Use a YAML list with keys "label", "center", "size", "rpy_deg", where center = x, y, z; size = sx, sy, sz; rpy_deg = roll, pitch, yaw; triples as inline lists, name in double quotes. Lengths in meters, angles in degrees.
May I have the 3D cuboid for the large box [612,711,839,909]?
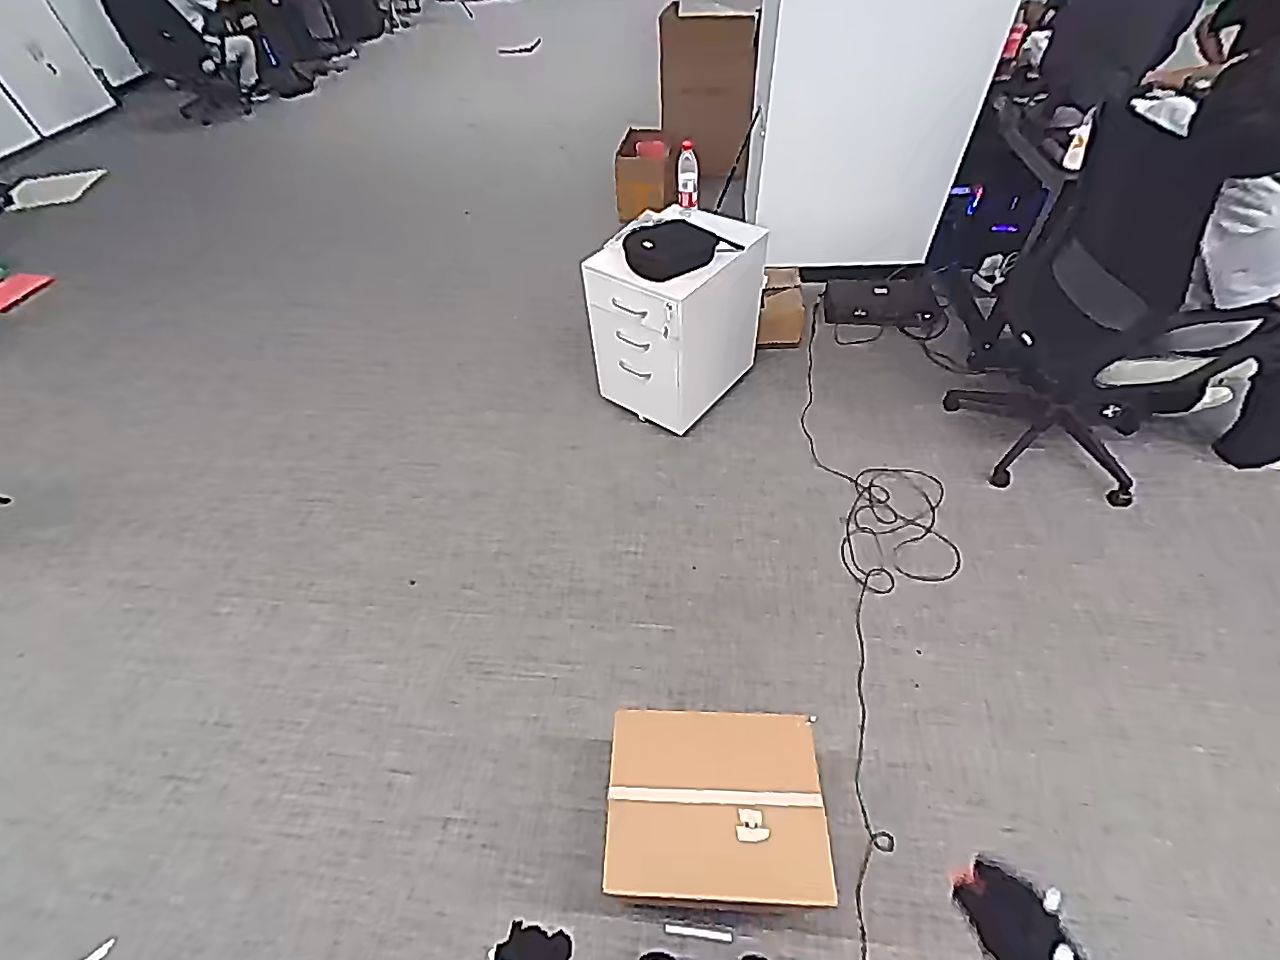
- label: "large box"
  center: [0.157, 0.702, 1.147]
  size: [0.408, 0.320, 0.320]
  rpy_deg: [0, 50, 4]
